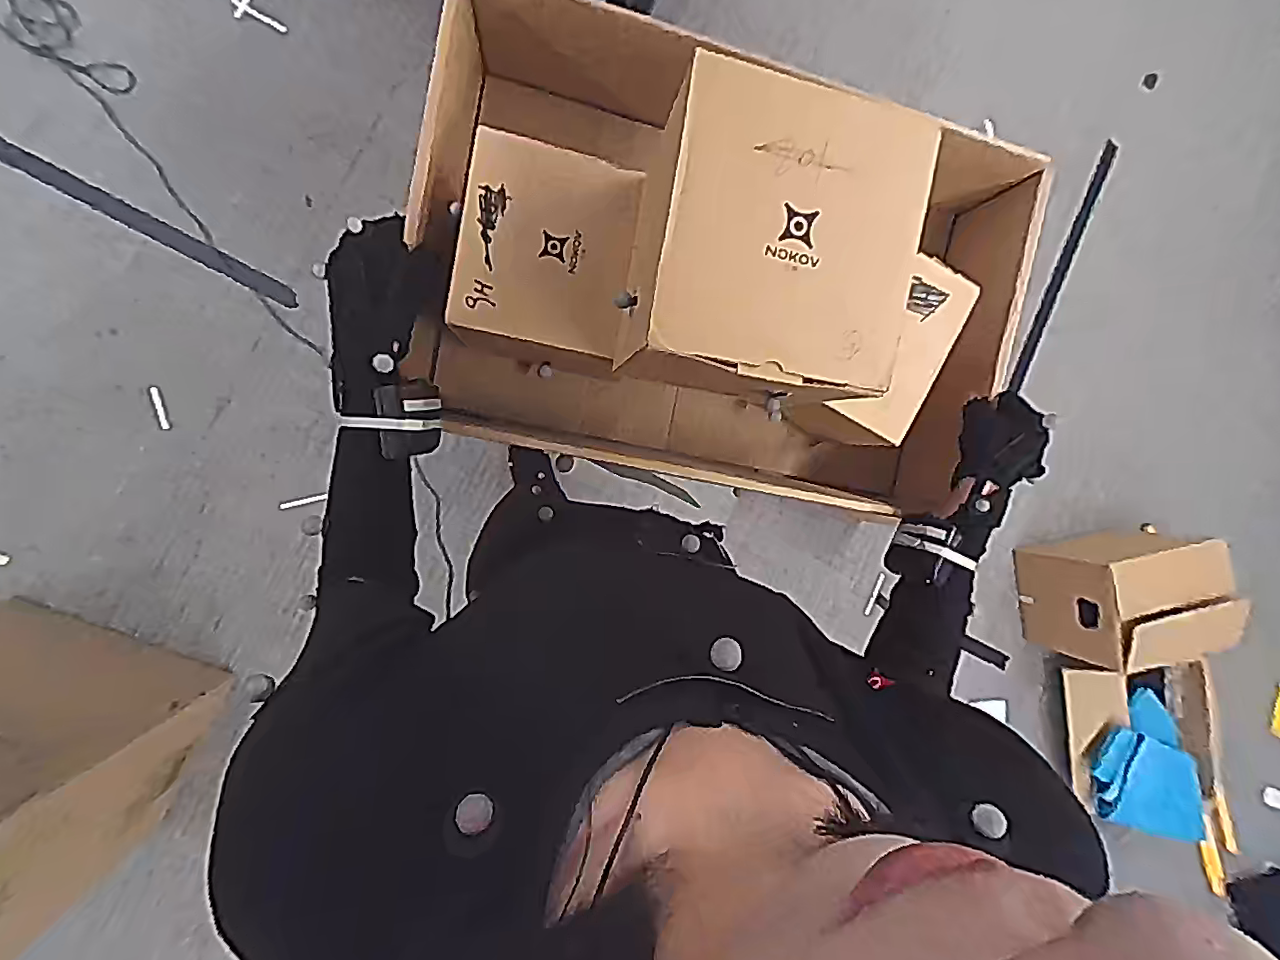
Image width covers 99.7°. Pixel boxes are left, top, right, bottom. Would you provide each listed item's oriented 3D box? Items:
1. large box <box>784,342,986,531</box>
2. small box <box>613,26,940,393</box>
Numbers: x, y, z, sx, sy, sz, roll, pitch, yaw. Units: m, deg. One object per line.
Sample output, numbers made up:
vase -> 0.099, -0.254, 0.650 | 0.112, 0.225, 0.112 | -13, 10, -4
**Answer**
large box -> 0.658, -0.113, 1.499 | 0.320, 0.320, 0.408 | 23, 86, -9
small box -> 0.077, -0.165, 0.399 | 0.168, 0.176, 0.179 | 8, 94, -11
